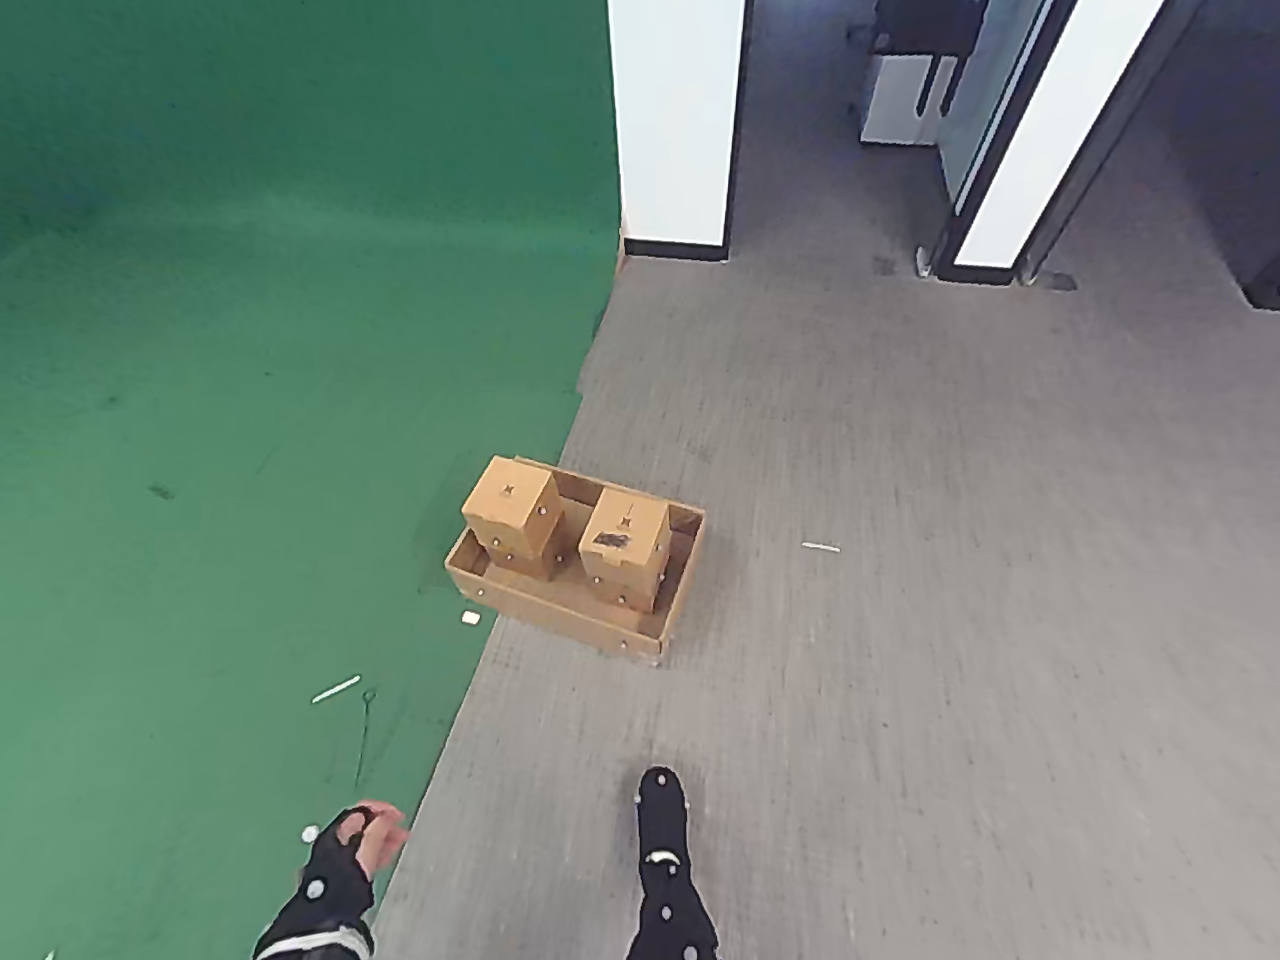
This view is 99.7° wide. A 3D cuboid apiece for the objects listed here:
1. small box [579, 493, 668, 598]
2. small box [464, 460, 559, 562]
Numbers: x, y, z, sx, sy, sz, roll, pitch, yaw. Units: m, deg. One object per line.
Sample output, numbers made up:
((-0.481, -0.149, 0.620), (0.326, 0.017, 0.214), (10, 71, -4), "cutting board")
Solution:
((-0.031, 0.162, 1.313), (0.168, 0.176, 0.179), (14, 56, 13), "small box")
((-0.318, 0.083, 1.388), (0.168, 0.176, 0.179), (16, 58, 12), "small box")
